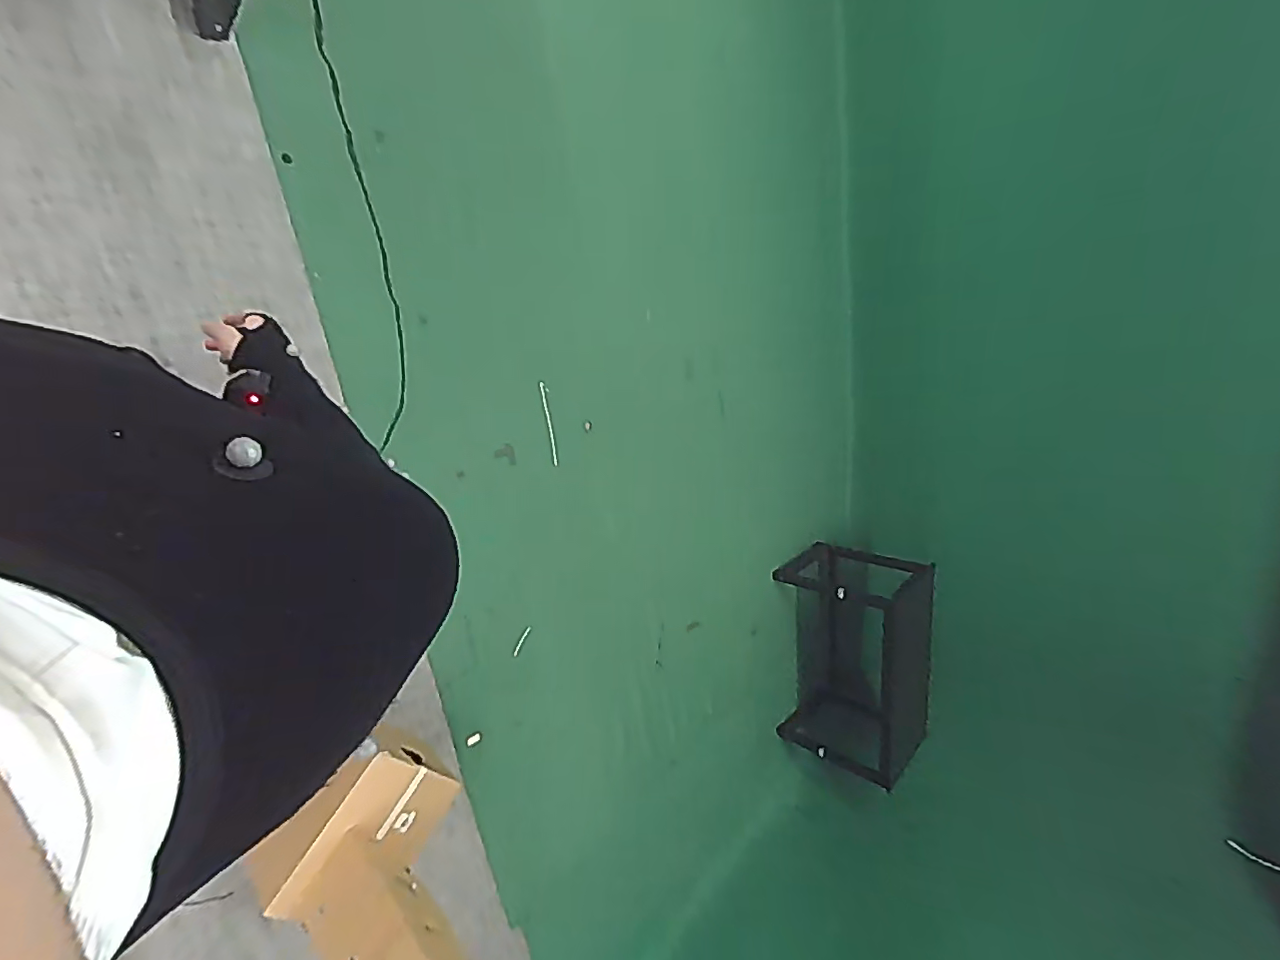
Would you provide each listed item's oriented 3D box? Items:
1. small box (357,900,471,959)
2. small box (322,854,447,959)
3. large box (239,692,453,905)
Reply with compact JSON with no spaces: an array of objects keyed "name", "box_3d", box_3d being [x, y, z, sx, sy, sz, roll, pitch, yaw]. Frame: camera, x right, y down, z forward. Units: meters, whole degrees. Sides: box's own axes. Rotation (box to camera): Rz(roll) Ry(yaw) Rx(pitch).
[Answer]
[{"name":"small box","box_3d":[-0.470,1.022,1.107,0.179,0.176,0.168,-52,130,-24]},{"name":"small box","box_3d":[-0.583,1.001,1.223,0.179,0.176,0.168,-53,131,-24]},{"name":"large box","box_3d":[-0.830,0.898,1.543,0.408,0.320,0.320,-58,133,-22]}]
